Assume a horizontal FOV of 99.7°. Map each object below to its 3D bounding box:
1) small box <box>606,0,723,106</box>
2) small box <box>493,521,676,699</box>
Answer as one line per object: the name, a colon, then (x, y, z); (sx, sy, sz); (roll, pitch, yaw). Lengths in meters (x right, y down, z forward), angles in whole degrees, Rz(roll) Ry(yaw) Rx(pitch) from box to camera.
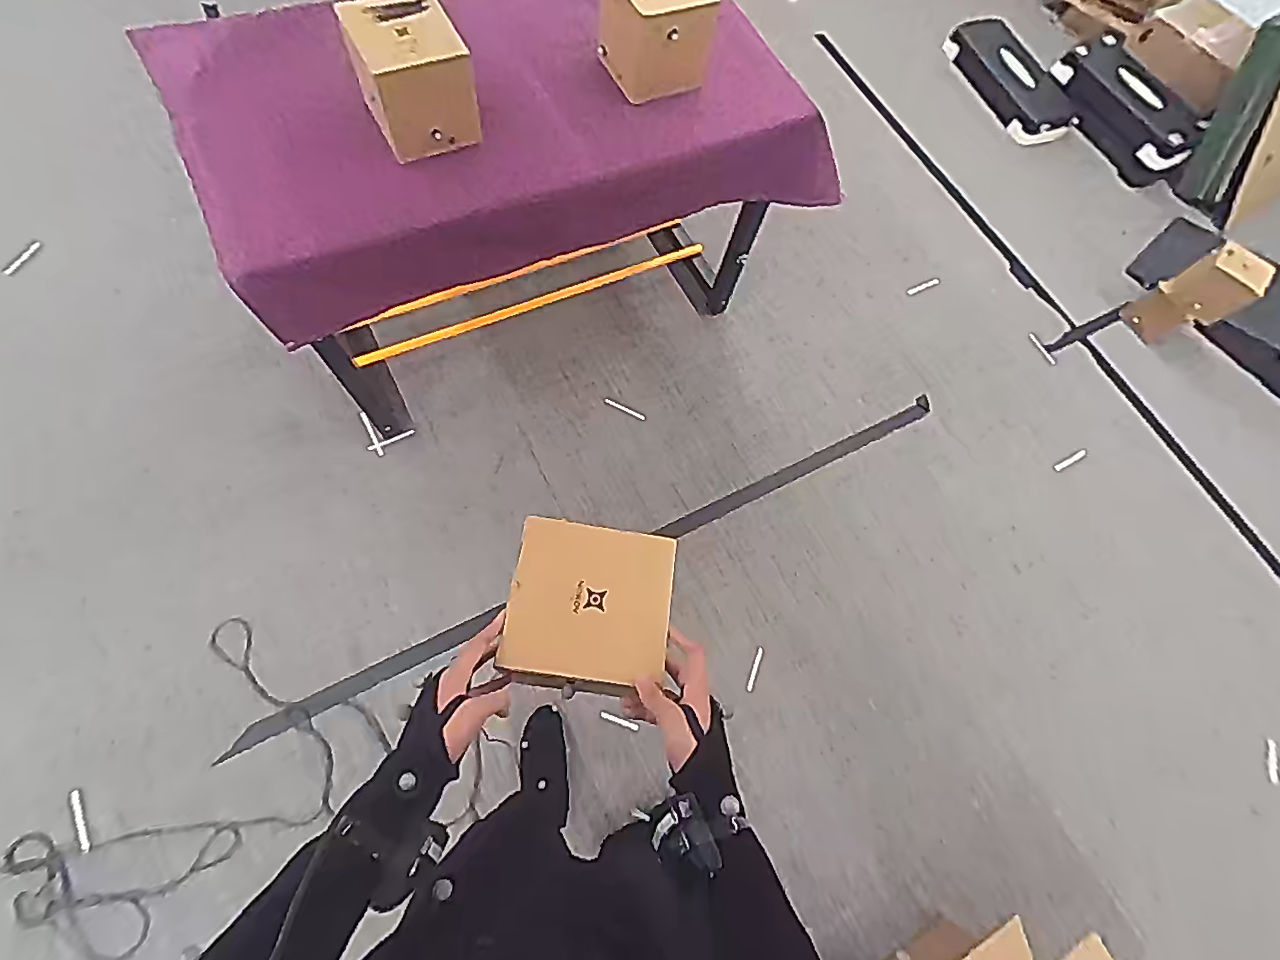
small box: (0.039, -0.906, 1.103); (0.179, 0.176, 0.168); (-25, 75, -15)
small box: (-0.062, 0.164, 0.650); (0.179, 0.176, 0.168); (9, 64, -3)
